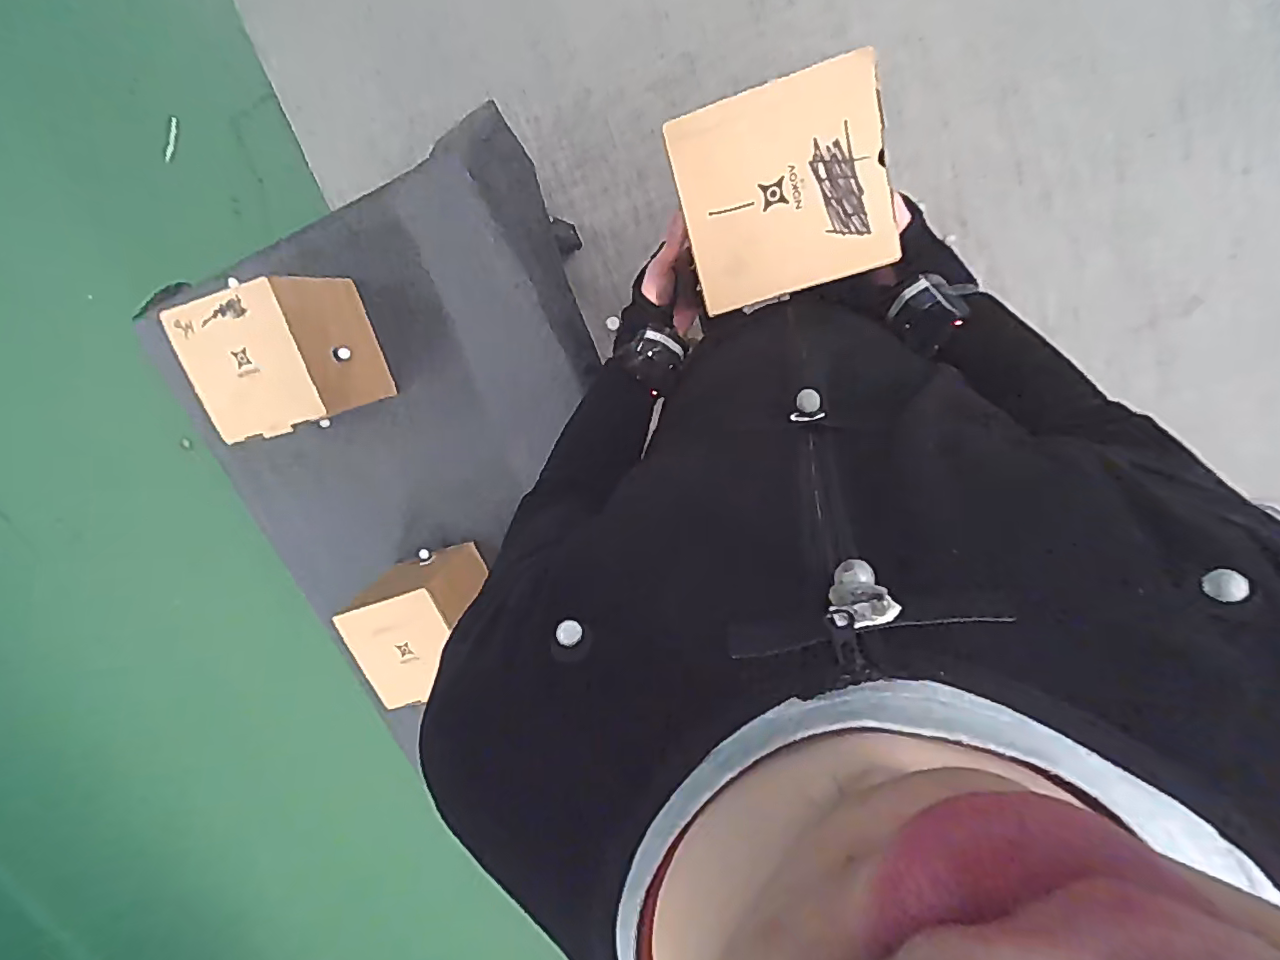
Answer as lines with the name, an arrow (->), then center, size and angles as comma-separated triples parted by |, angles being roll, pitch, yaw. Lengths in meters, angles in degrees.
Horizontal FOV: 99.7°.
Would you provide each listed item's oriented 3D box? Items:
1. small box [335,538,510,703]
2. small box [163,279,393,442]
small box -> -0.336, 0.221, 0.875 | 0.168, 0.176, 0.179 | -19, 104, 12
small box -> -0.482, -0.172, 0.753 | 0.168, 0.176, 0.179 | -13, 108, 11
